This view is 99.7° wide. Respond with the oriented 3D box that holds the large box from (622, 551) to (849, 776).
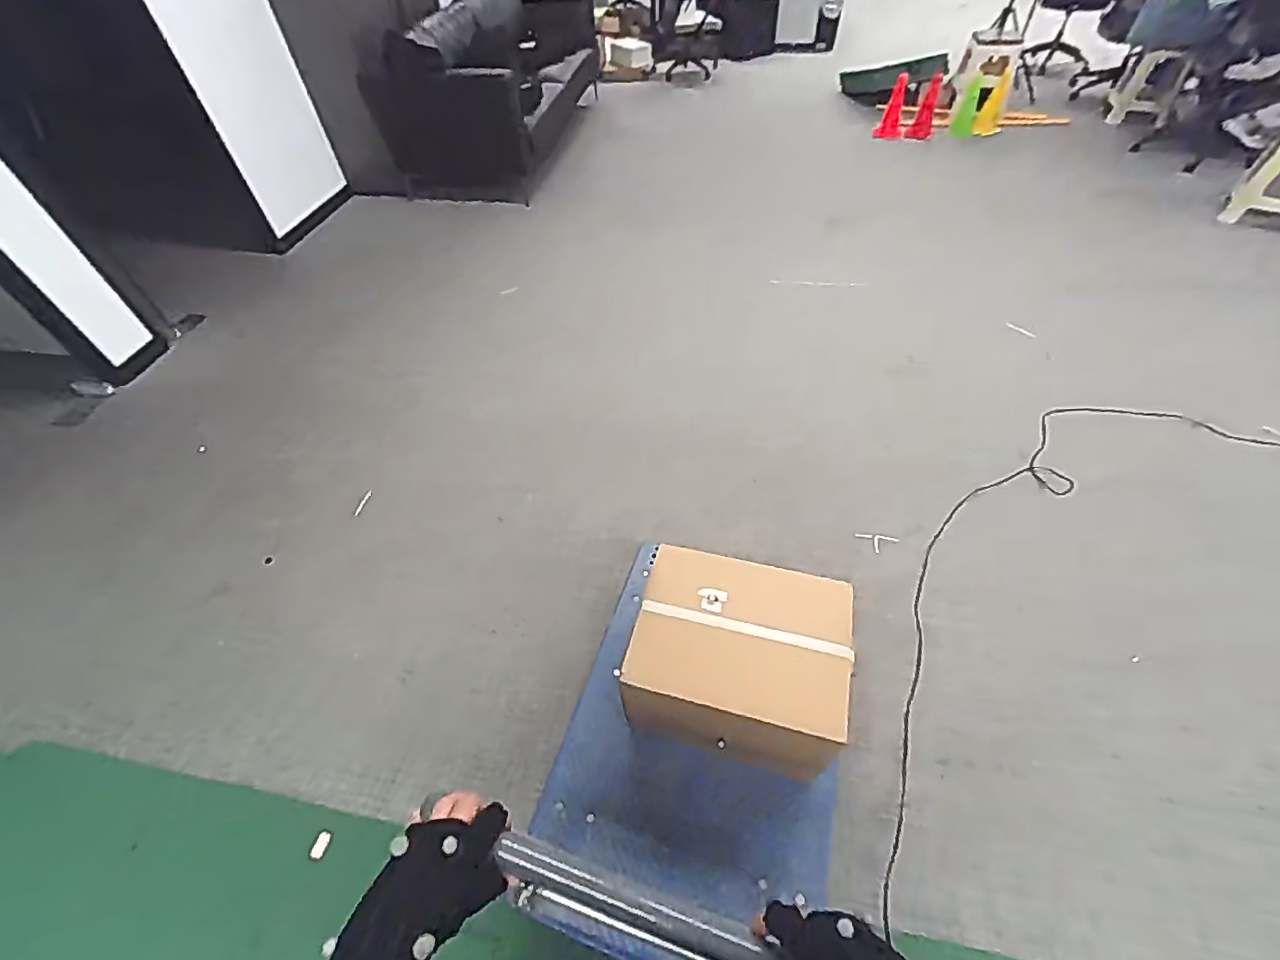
[{"bbox_3d":[0.208,0.390,1.154,0.408,0.320,0.320,9,50,13],"label":"large box"}]
